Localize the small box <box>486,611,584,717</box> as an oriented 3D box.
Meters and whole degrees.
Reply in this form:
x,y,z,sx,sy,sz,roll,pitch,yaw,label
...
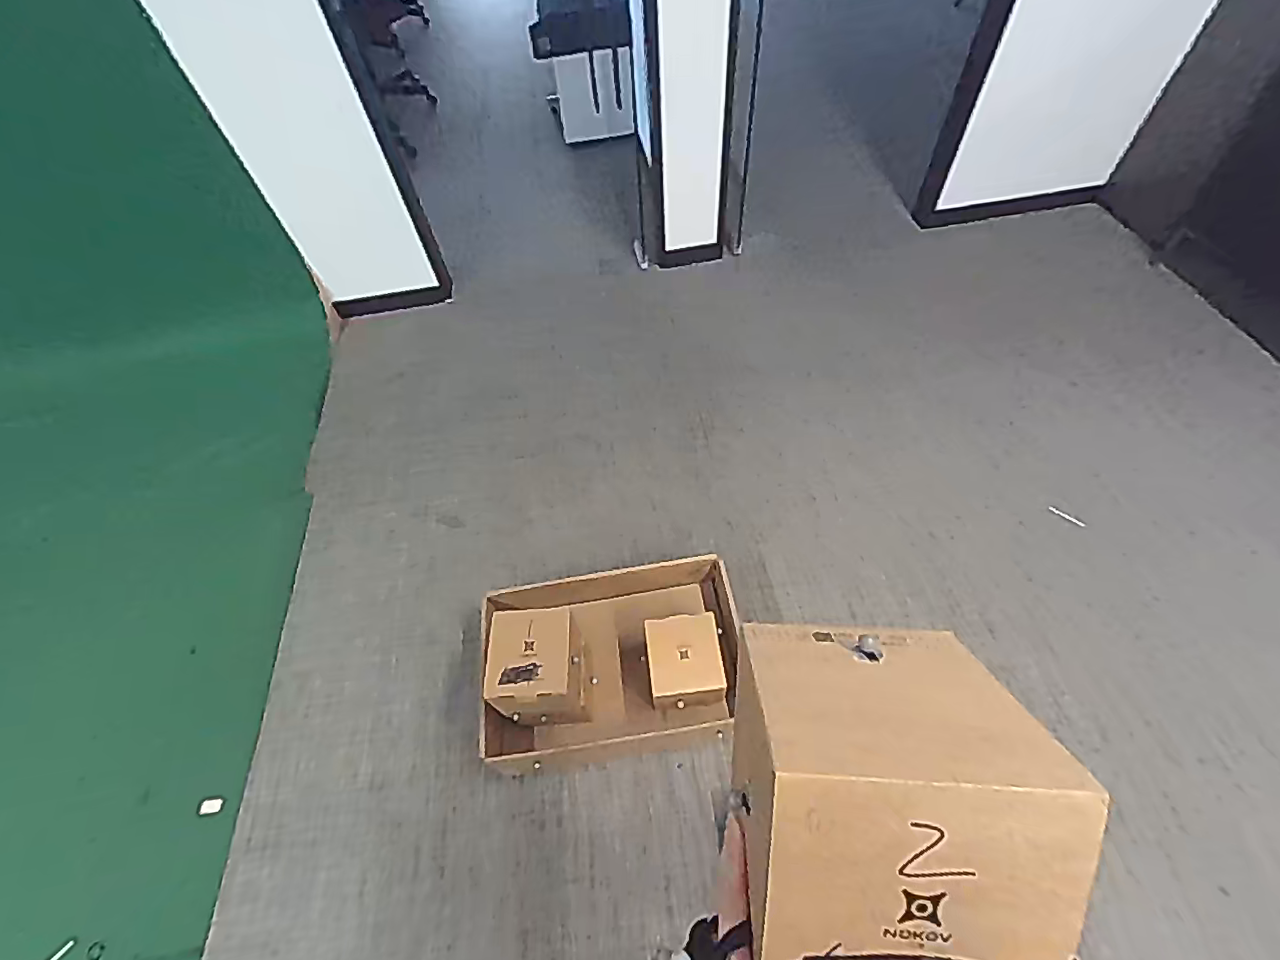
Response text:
x,y,z,sx,sy,sz,roll,pitch,yaw,label
-0.212,0.395,1.146,0.168,0.176,0.179,-4,54,1,small box
